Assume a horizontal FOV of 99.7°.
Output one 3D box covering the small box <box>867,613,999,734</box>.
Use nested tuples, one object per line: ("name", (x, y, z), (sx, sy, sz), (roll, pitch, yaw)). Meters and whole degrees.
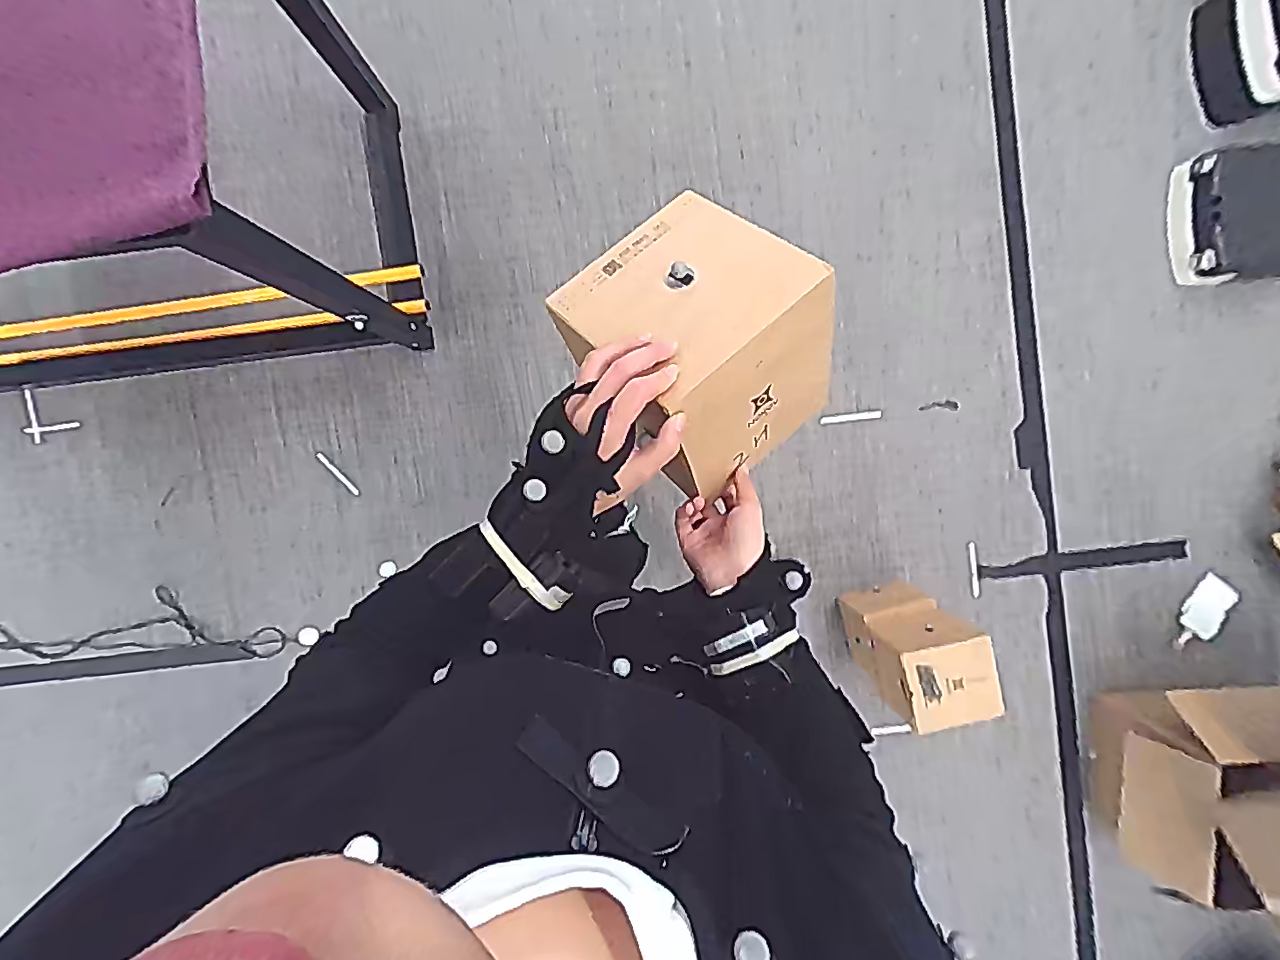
("small box", (0.589, 0.390, 1.116), (0.179, 0.176, 0.168), (-13, 94, 0))

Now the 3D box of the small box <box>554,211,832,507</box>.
("small box", (0.049, -0.113, 0.491), (0.168, 0.179, 0.176), (-39, 58, -7))
